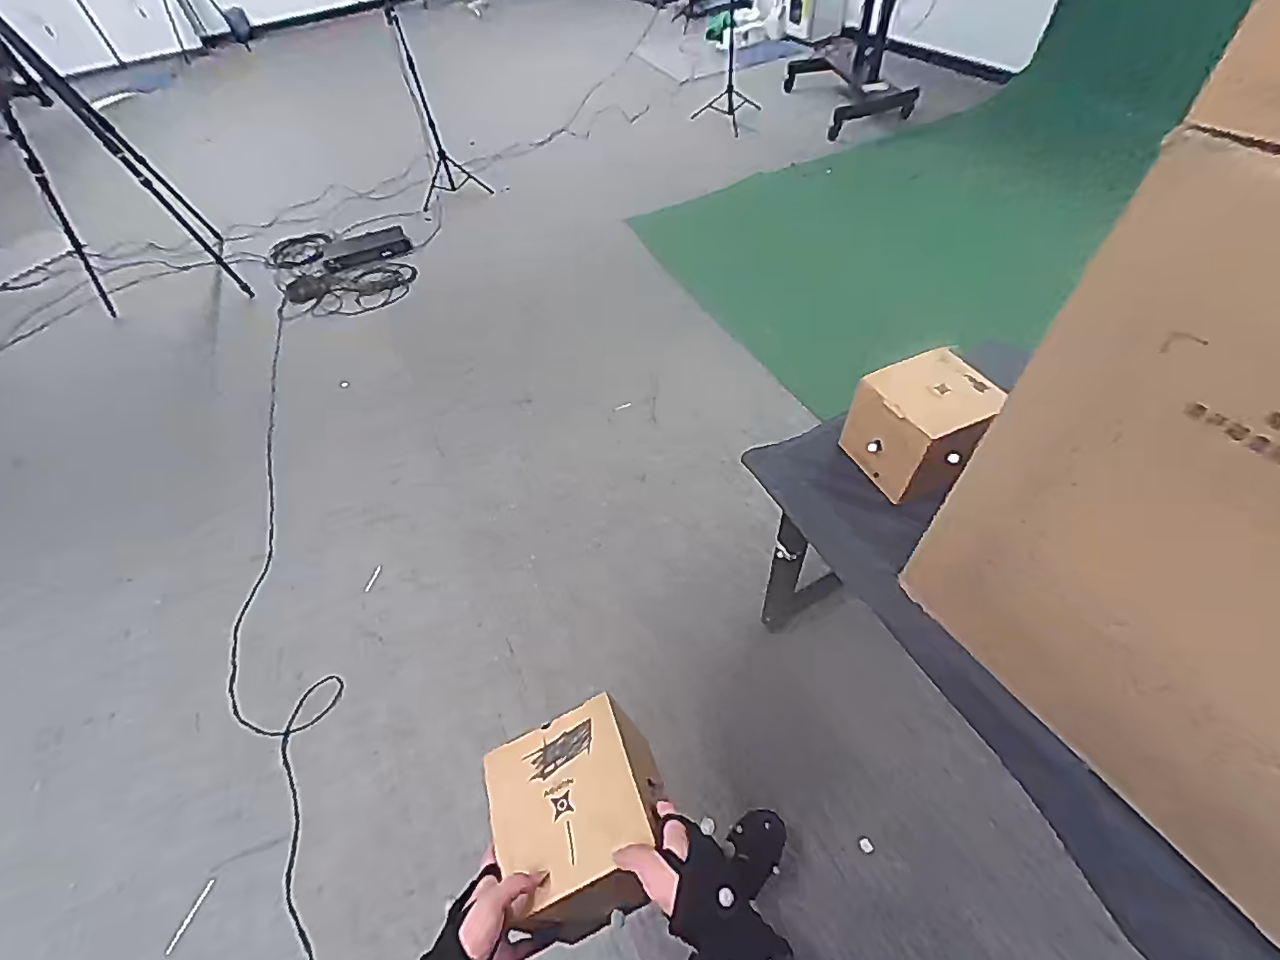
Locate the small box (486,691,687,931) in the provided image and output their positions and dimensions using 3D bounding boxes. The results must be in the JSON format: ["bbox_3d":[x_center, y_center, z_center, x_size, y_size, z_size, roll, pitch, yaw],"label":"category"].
[{"bbox_3d":[-0.063,0.398,0.651,0.168,0.176,0.179,-27,43,-2],"label":"small box"}]
